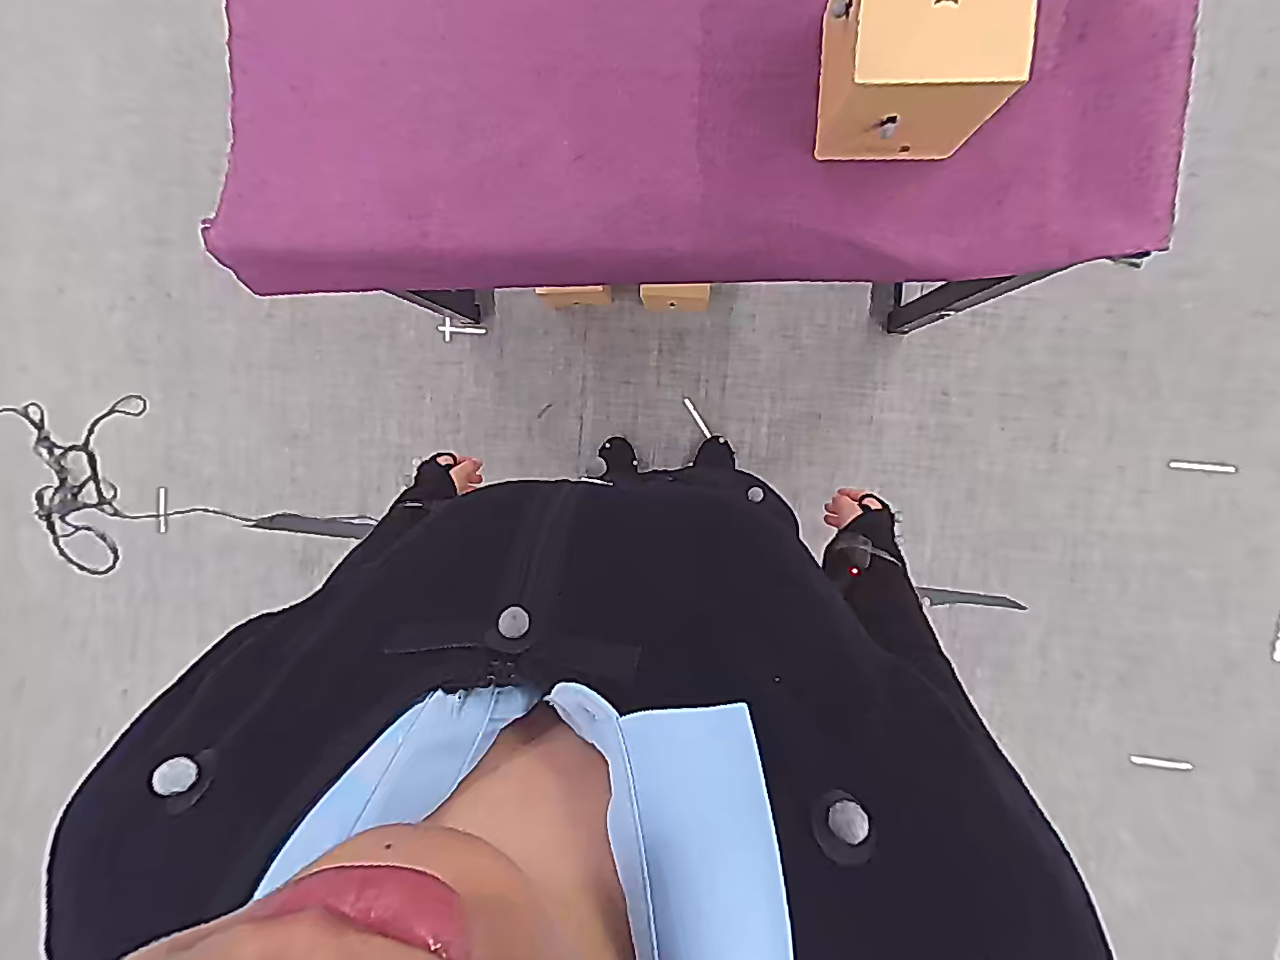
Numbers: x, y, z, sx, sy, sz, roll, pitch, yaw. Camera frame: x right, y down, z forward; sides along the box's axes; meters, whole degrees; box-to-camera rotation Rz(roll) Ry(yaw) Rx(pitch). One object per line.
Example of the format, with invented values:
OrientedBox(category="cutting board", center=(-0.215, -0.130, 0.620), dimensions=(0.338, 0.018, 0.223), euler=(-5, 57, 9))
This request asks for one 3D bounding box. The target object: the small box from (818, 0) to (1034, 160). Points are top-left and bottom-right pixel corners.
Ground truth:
OrientedBox(category="small box", center=(0.304, -0.482, 0.602), dimensions=(0.168, 0.176, 0.179), euler=(3, 96, 5))

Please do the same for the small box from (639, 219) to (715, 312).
OrientedBox(category="small box", center=(0.093, -0.527, 1.350), dimensions=(0.168, 0.176, 0.179), euler=(6, 96, 4))
